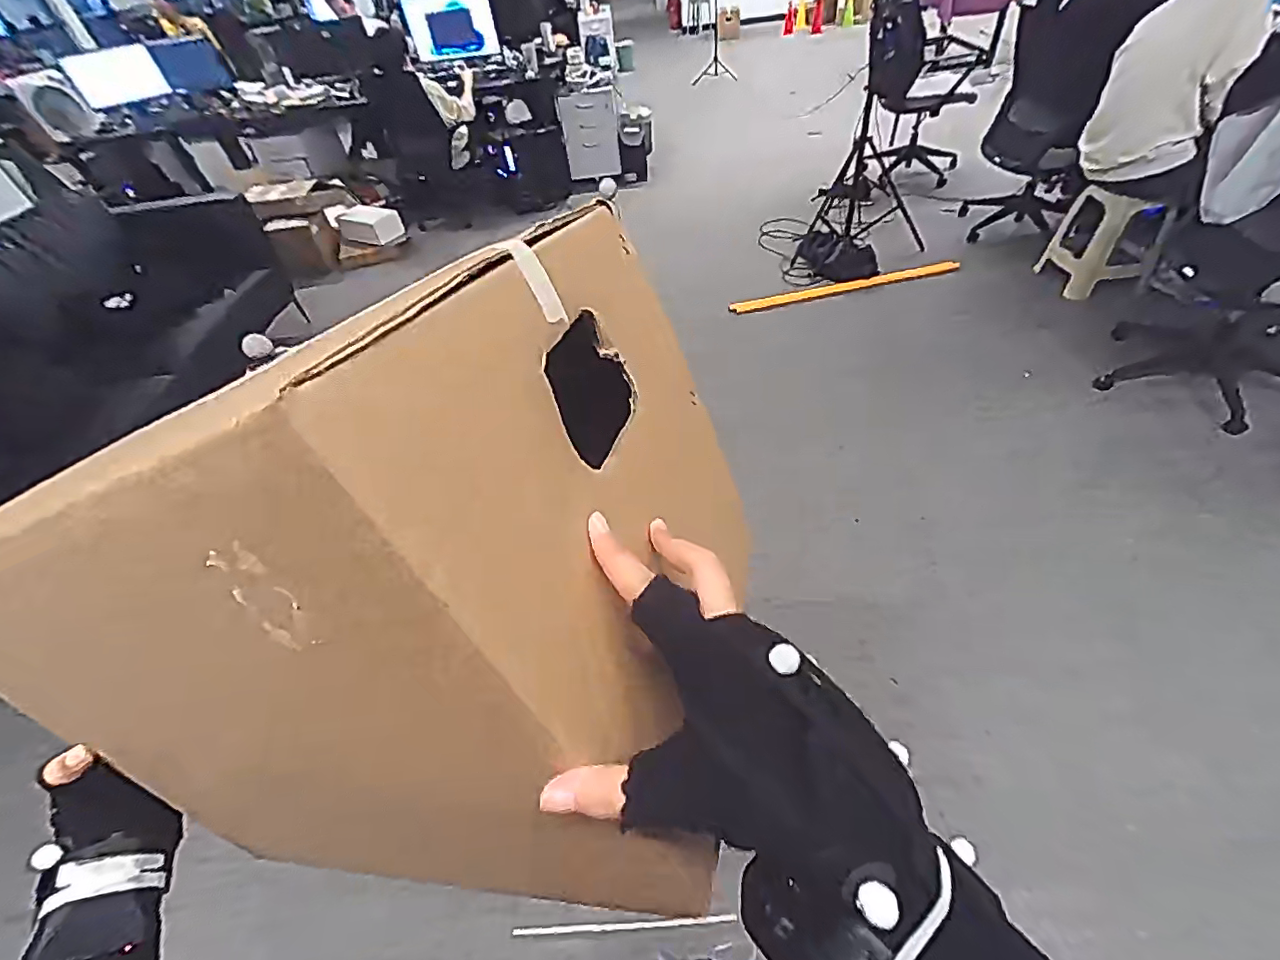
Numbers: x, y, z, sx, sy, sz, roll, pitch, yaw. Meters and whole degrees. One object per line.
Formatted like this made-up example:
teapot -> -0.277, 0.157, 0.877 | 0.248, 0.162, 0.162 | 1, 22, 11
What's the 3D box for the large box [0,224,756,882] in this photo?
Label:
large box -> -0.156, 0.057, 0.423 | 0.408, 0.320, 0.320 | -13, 30, 24
